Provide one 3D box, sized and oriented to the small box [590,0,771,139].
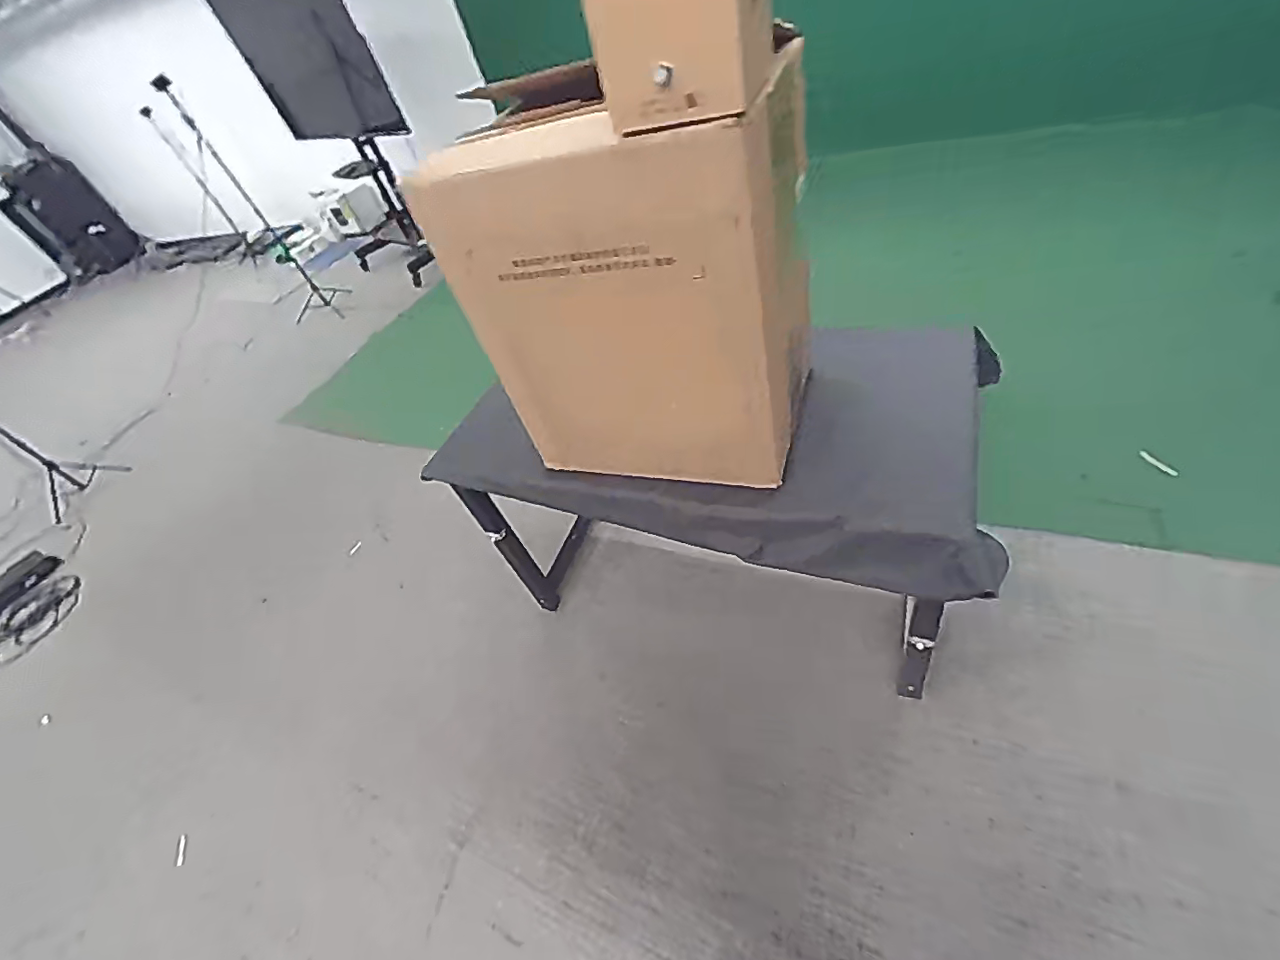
[{"bbox_3d":[0.055,-0.525,0.628,0.168,0.176,0.179,6,51,23],"label":"small box"}]
